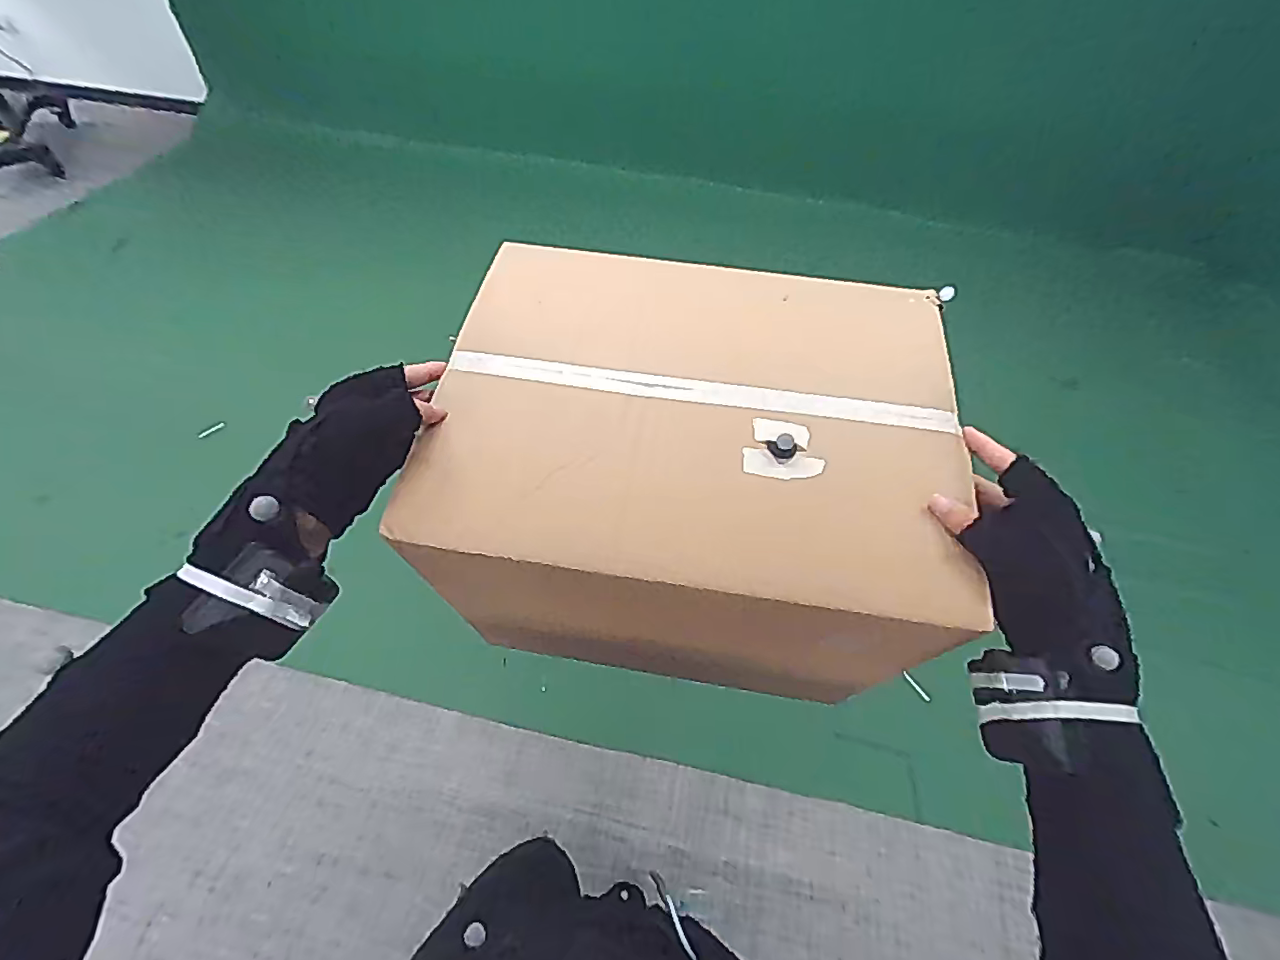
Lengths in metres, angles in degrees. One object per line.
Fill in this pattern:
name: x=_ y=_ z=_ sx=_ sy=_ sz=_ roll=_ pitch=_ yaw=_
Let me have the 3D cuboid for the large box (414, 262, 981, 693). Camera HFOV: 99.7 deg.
large box: x=0.049 y=0.015 z=0.574 sx=0.408 sy=0.320 sz=0.320 roll=8 pitch=60 yaw=3
